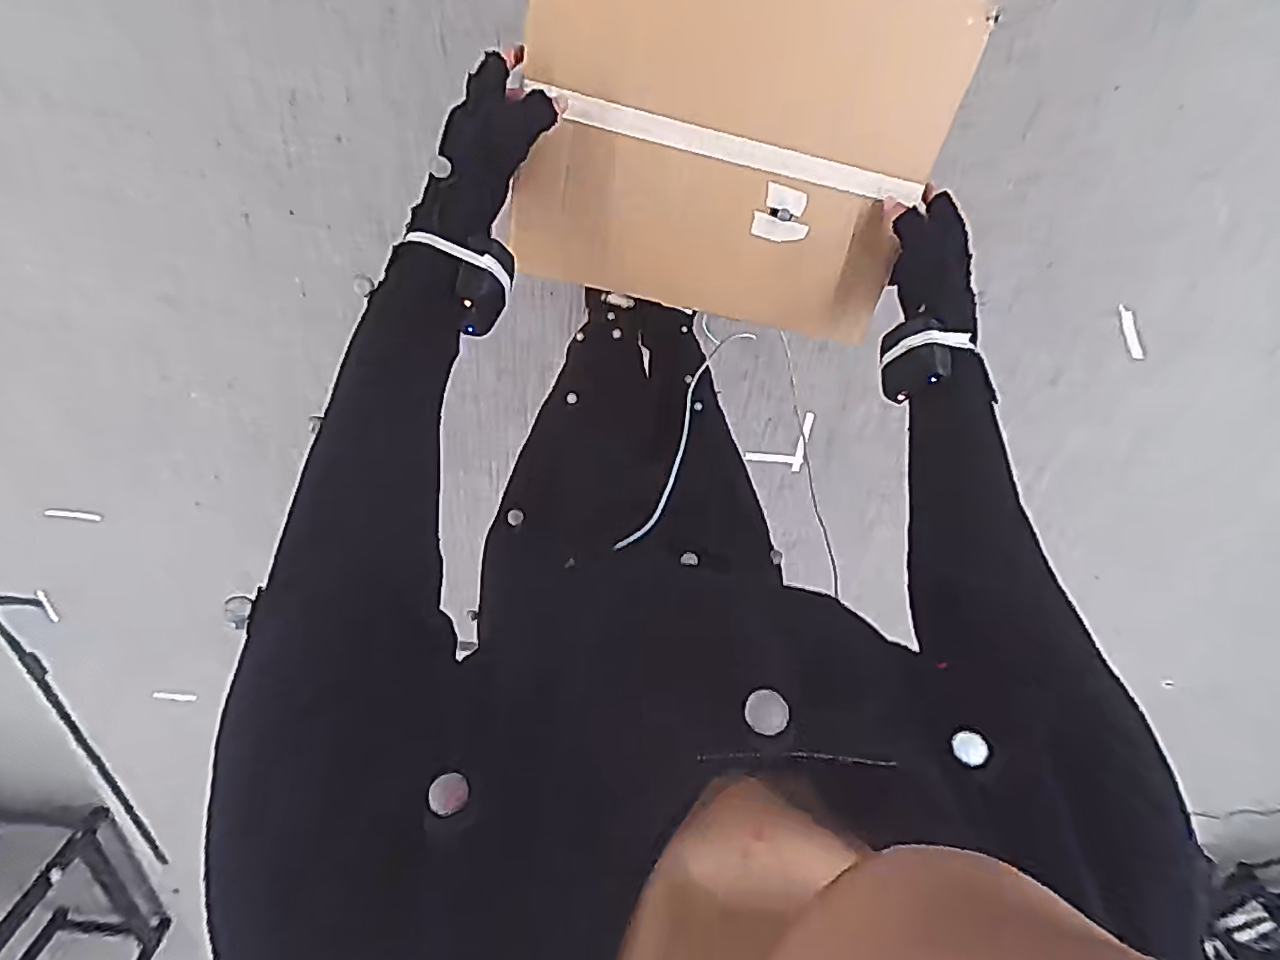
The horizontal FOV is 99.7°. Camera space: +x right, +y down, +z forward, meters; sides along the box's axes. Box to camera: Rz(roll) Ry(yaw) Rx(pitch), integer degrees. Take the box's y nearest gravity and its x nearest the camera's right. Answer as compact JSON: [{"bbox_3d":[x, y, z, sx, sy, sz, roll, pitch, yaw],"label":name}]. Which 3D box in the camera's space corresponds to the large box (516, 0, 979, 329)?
[{"bbox_3d":[0.079,-0.412,0.666,0.408,0.320,0.320,10,120,-9],"label":"large box"}]
